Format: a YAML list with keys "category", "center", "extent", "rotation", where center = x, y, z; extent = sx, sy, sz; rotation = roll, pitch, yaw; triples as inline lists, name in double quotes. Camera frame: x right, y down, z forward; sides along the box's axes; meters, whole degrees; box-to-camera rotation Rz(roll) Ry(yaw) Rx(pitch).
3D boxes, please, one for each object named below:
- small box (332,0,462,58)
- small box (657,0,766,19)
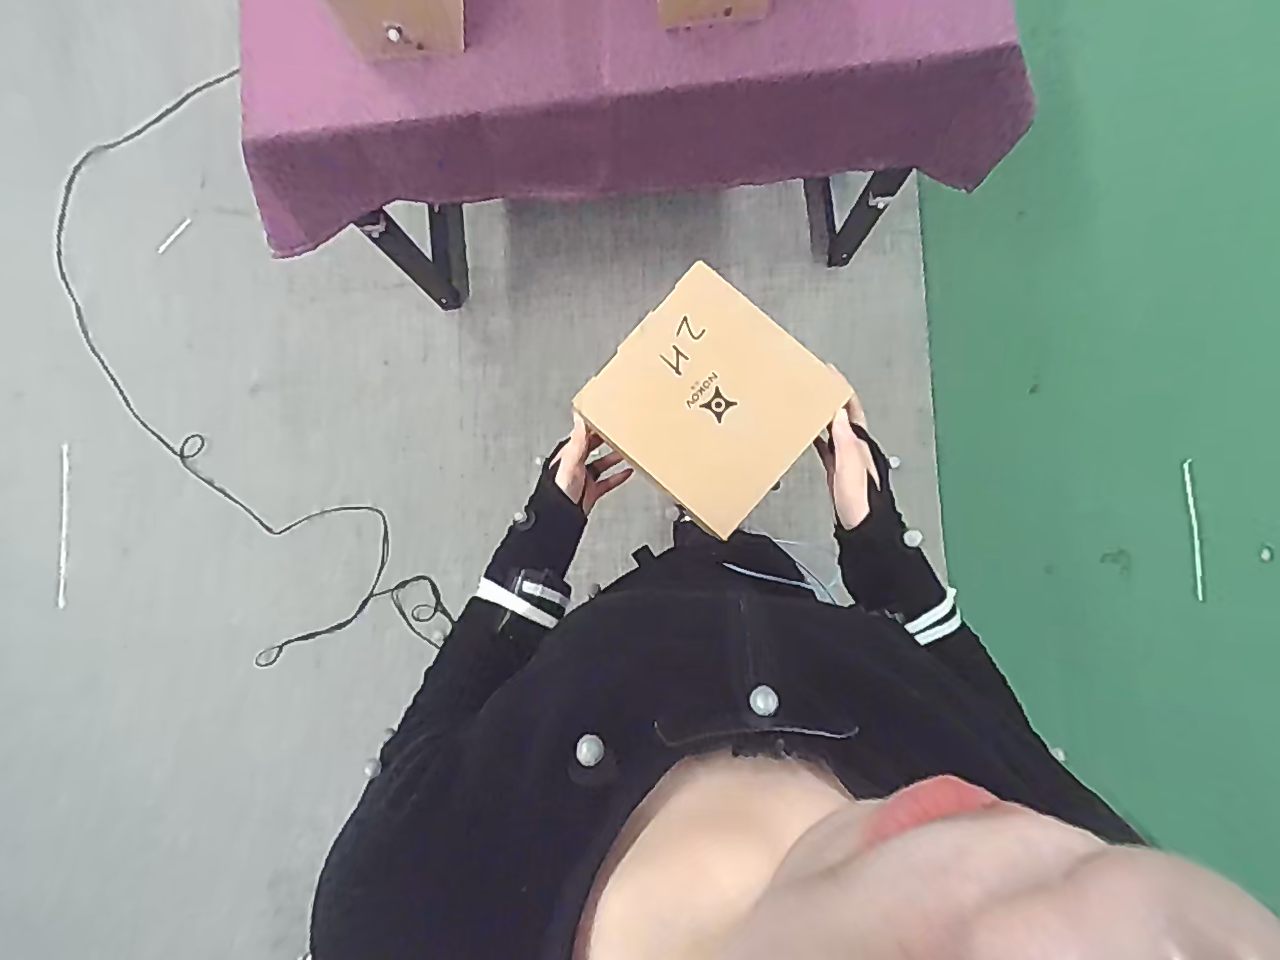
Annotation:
- category: "small box"
  center: [-0.363, -0.758, 0.774]
  extent: [0.168, 0.176, 0.179]
  rotation: [-3, 86, 2]
- category: "small box"
  center: [0.101, -0.795, 0.758]
  extent: [0.168, 0.176, 0.179]
  rotation: [-4, 86, 2]
